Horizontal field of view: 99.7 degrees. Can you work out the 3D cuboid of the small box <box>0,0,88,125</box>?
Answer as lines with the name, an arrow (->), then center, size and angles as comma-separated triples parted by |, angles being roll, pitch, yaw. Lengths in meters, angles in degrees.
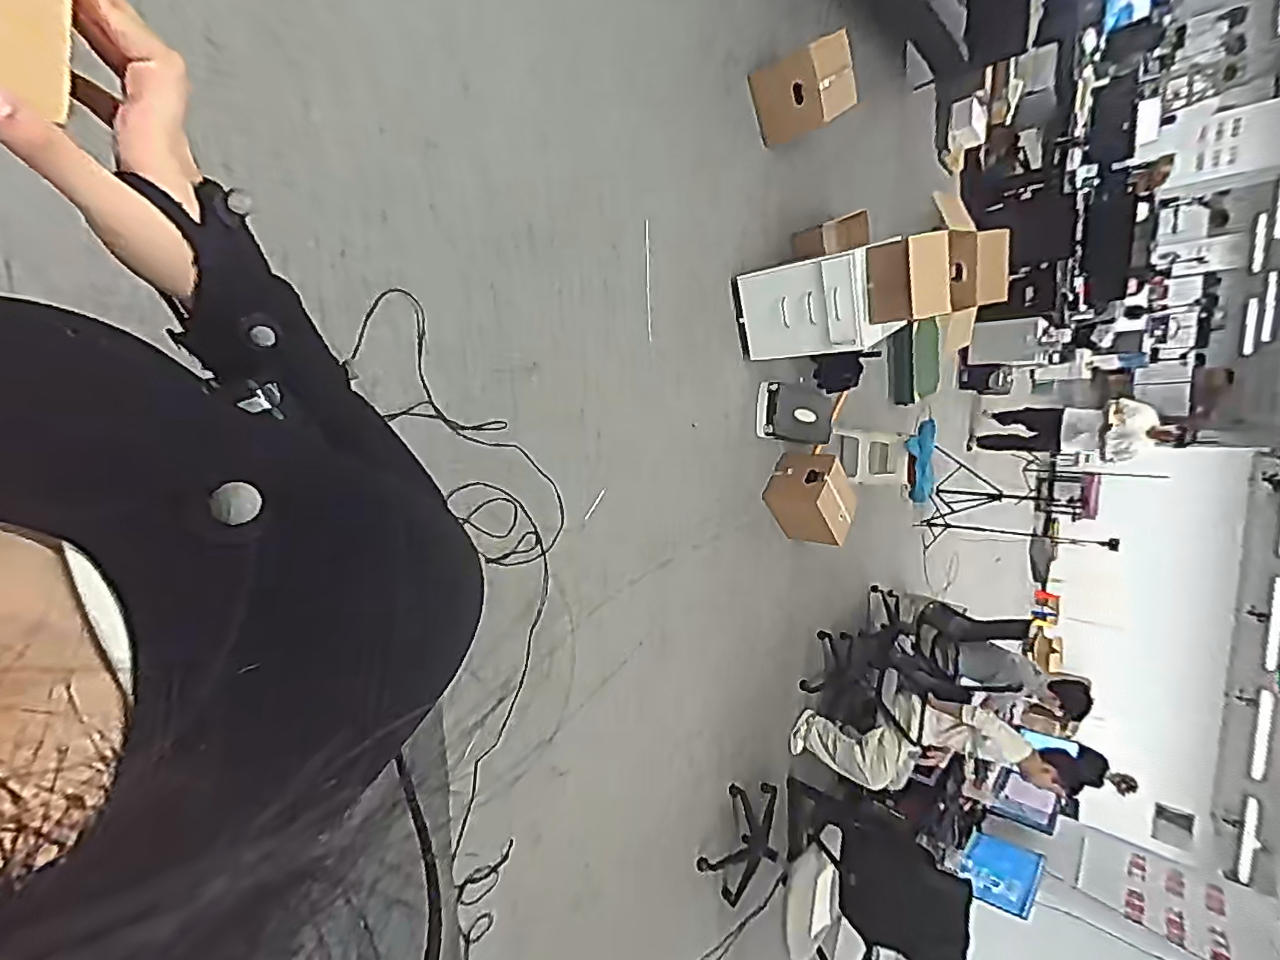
small box -> -0.340, -0.271, 0.210 | 0.168, 0.176, 0.179 | -3, 114, -52
